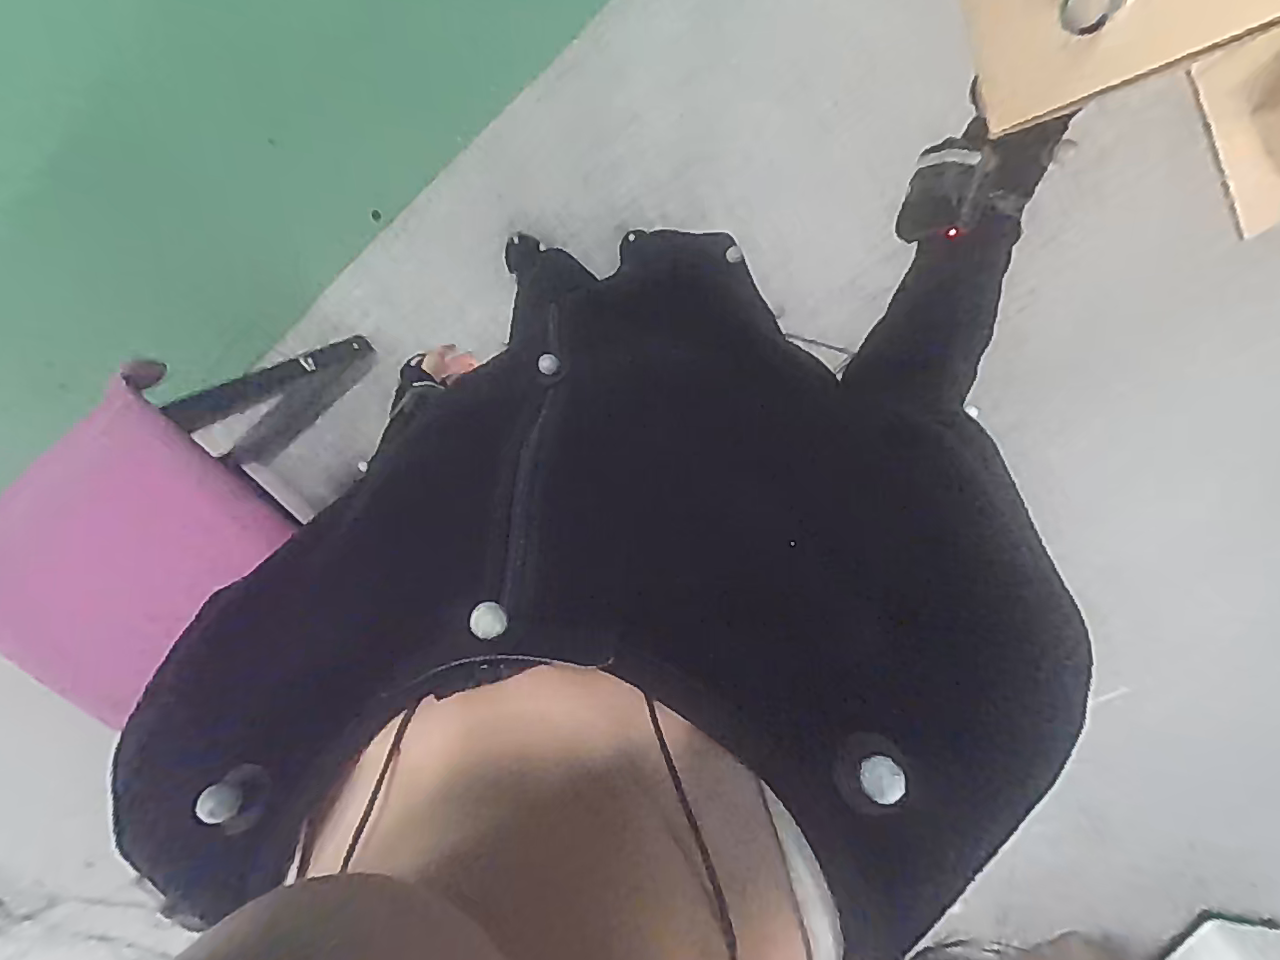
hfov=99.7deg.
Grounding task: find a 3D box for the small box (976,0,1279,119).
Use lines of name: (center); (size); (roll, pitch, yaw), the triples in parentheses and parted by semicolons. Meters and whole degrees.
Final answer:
small box: (0.242, -0.301, 0.217); (0.179, 0.168, 0.176); (1, 138, 48)
